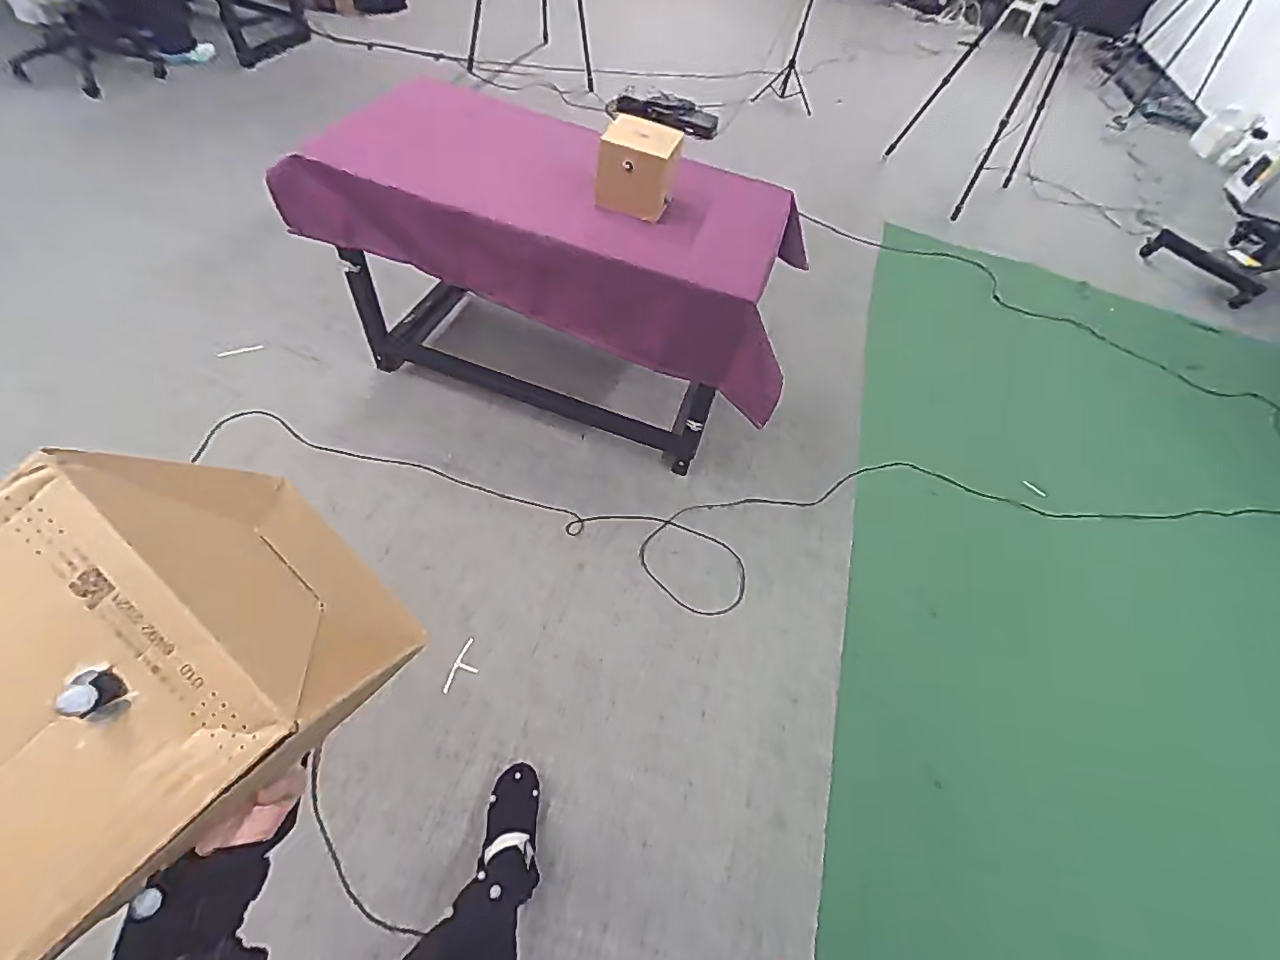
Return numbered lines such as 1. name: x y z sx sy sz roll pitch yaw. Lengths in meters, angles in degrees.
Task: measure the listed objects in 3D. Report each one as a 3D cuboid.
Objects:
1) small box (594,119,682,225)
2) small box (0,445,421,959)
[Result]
1. small box: -0.010 -0.787 1.391 0.179 0.176 0.168 20 54 4
2. small box: -0.265 0.099 0.320 0.176 0.179 0.168 -42 89 -5
